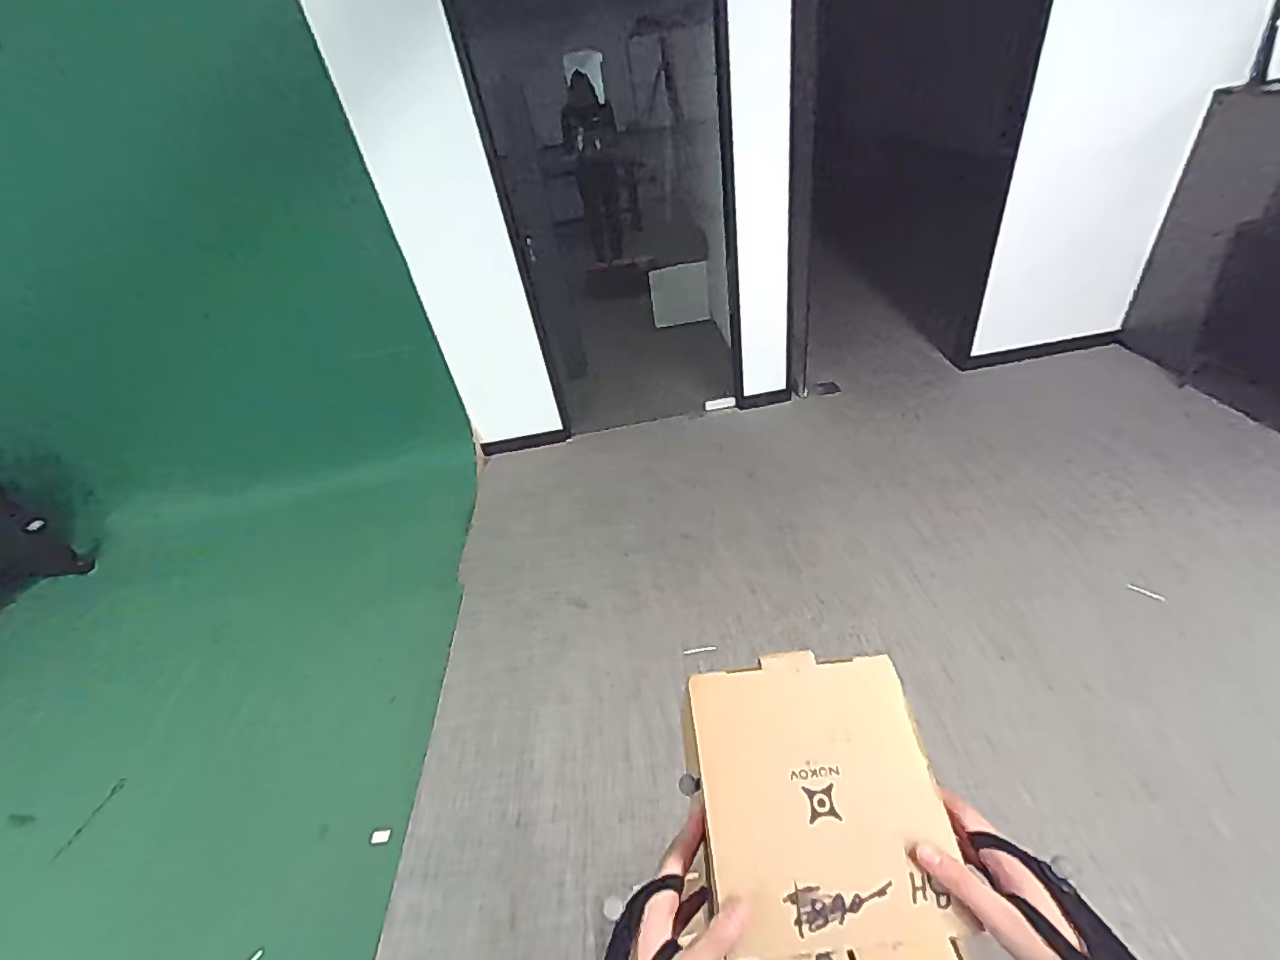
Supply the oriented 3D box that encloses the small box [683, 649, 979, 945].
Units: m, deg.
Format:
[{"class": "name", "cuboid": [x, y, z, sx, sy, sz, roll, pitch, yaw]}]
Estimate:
[{"class": "small box", "cuboid": [0.129, 0.259, 0.452, 0.168, 0.176, 0.179, -5, 55, -1]}]
